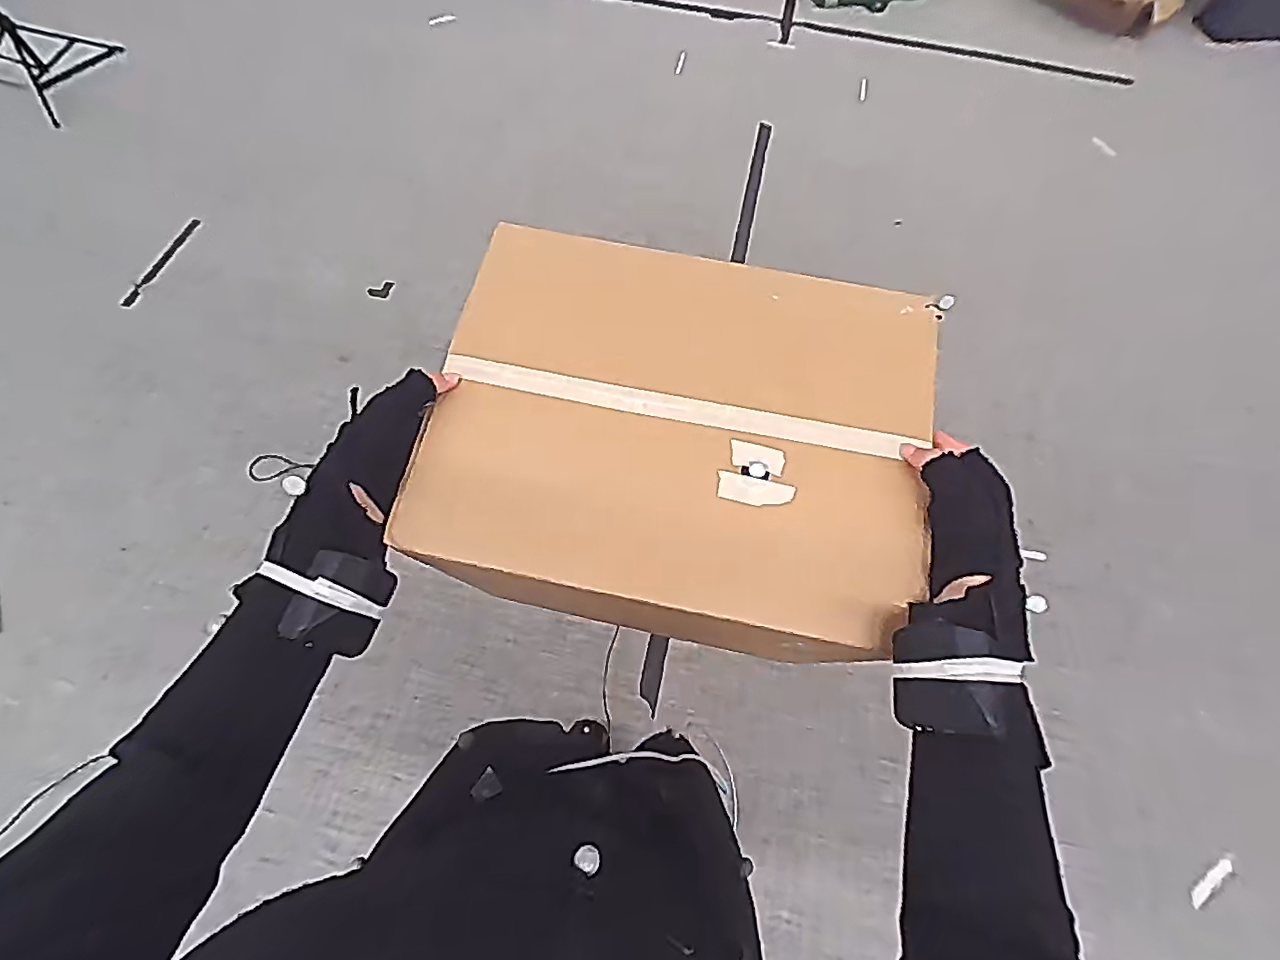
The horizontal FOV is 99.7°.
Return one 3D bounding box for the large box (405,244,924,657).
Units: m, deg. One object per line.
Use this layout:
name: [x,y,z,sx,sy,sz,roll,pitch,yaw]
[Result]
large box: [0.034,-0.002,0.598,0.408,0.320,0.320,11,72,3]
